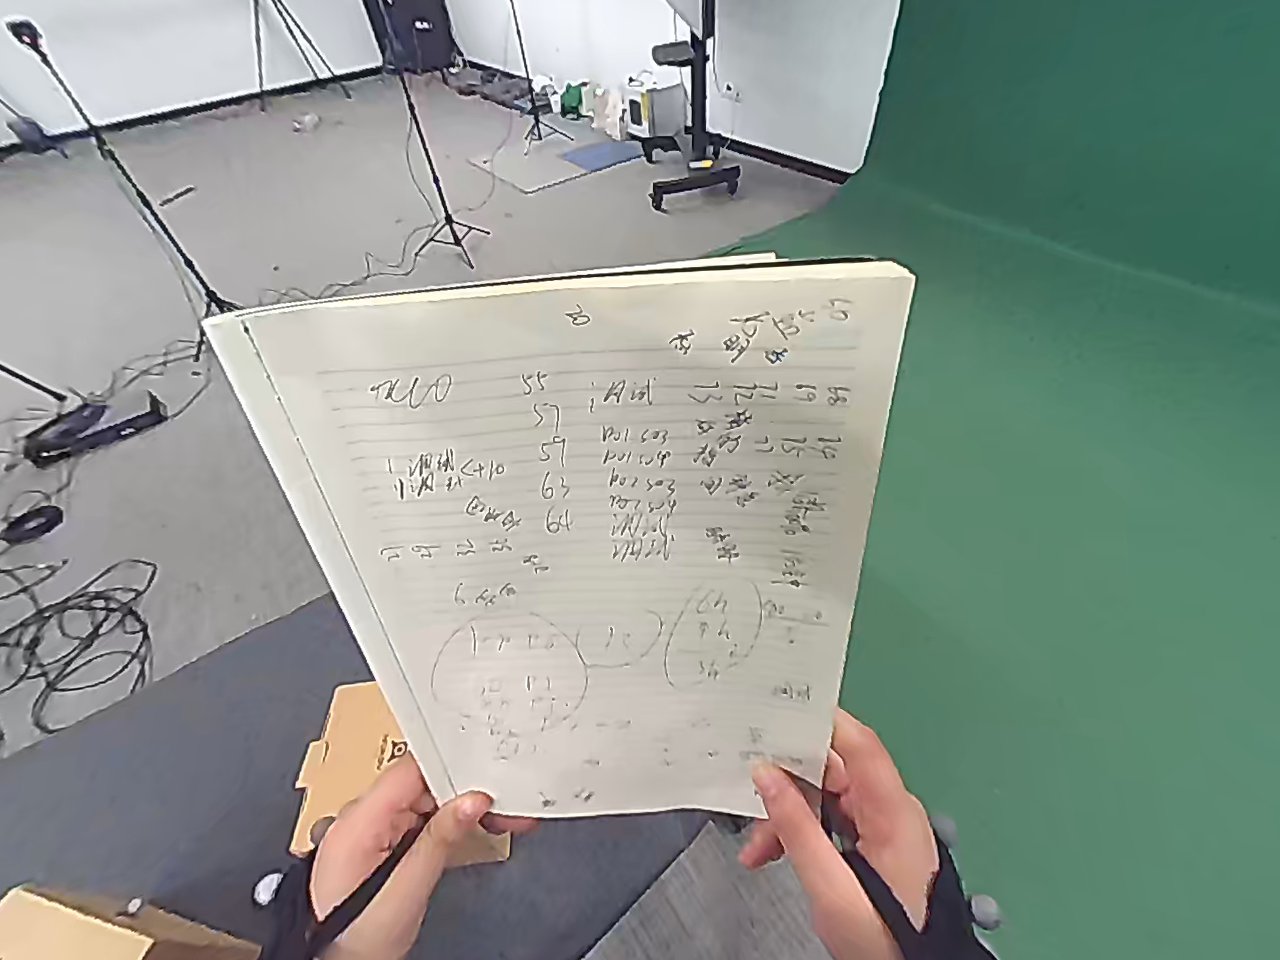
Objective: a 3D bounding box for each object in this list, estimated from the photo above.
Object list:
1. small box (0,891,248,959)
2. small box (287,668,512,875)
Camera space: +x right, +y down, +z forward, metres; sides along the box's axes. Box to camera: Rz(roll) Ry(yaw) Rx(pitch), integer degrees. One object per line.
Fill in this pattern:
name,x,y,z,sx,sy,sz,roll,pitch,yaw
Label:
small box,-0.525,0.510,0.499,0.179,0.176,0.168,7,48,12
small box,-0.255,0.341,0.629,0.179,0.176,0.168,-9,47,-1
